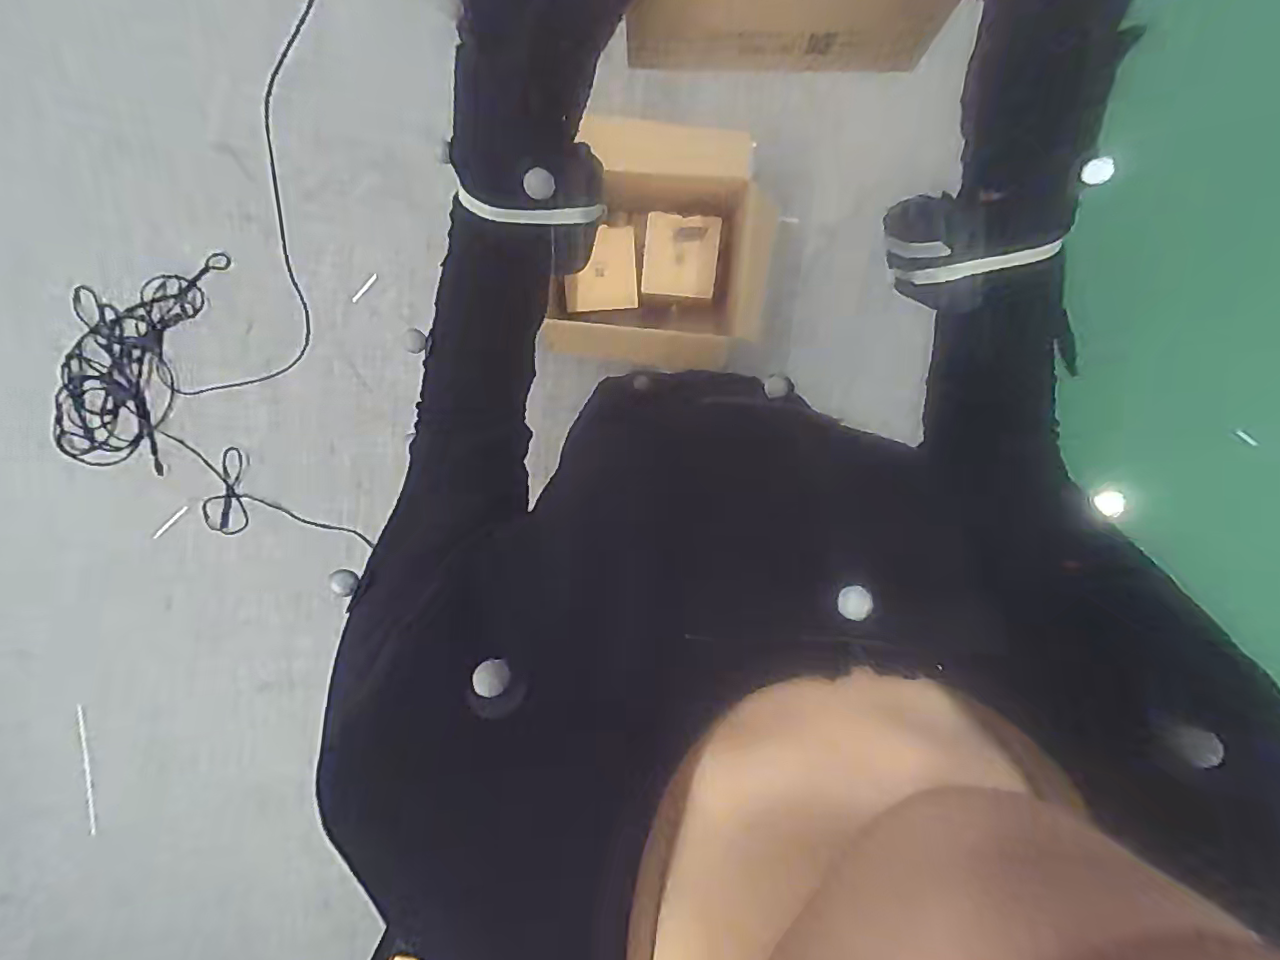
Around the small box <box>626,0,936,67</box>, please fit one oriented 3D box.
[{"bbox_3d":[0.075,-0.325,0.239,0.168,0.176,0.179,1,91,0],"label":"small box"}]
